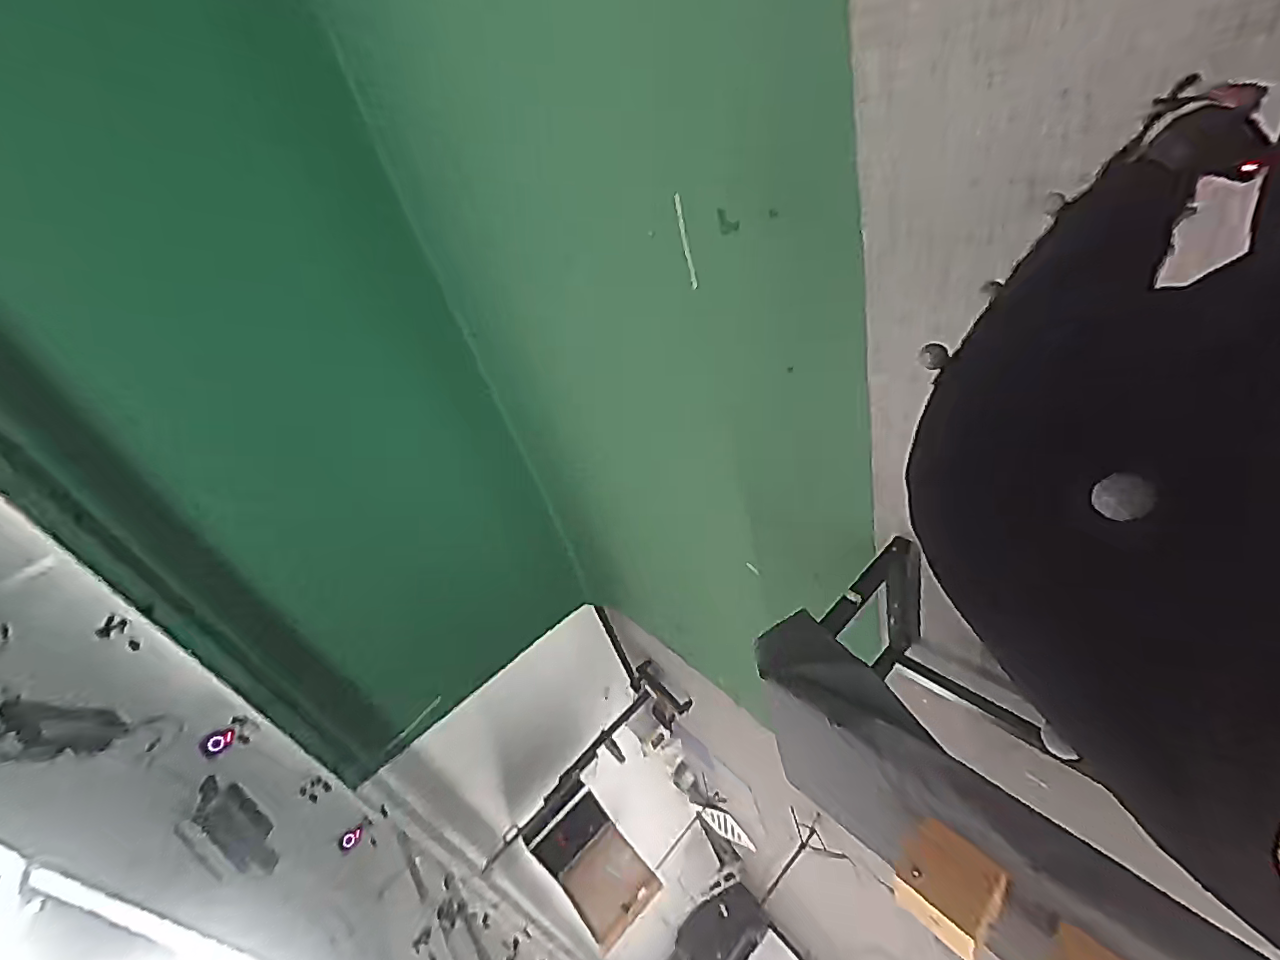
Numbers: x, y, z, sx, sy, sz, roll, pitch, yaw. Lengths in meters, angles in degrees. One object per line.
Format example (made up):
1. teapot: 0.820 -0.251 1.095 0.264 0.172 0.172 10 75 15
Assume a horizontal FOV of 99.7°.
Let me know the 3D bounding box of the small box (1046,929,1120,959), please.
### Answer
1. small box: 0.877 1.014 1.034 0.179 0.176 0.168 20 141 49

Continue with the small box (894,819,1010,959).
1. small box: 0.704 0.921 1.220 0.179 0.176 0.168 24 142 48
